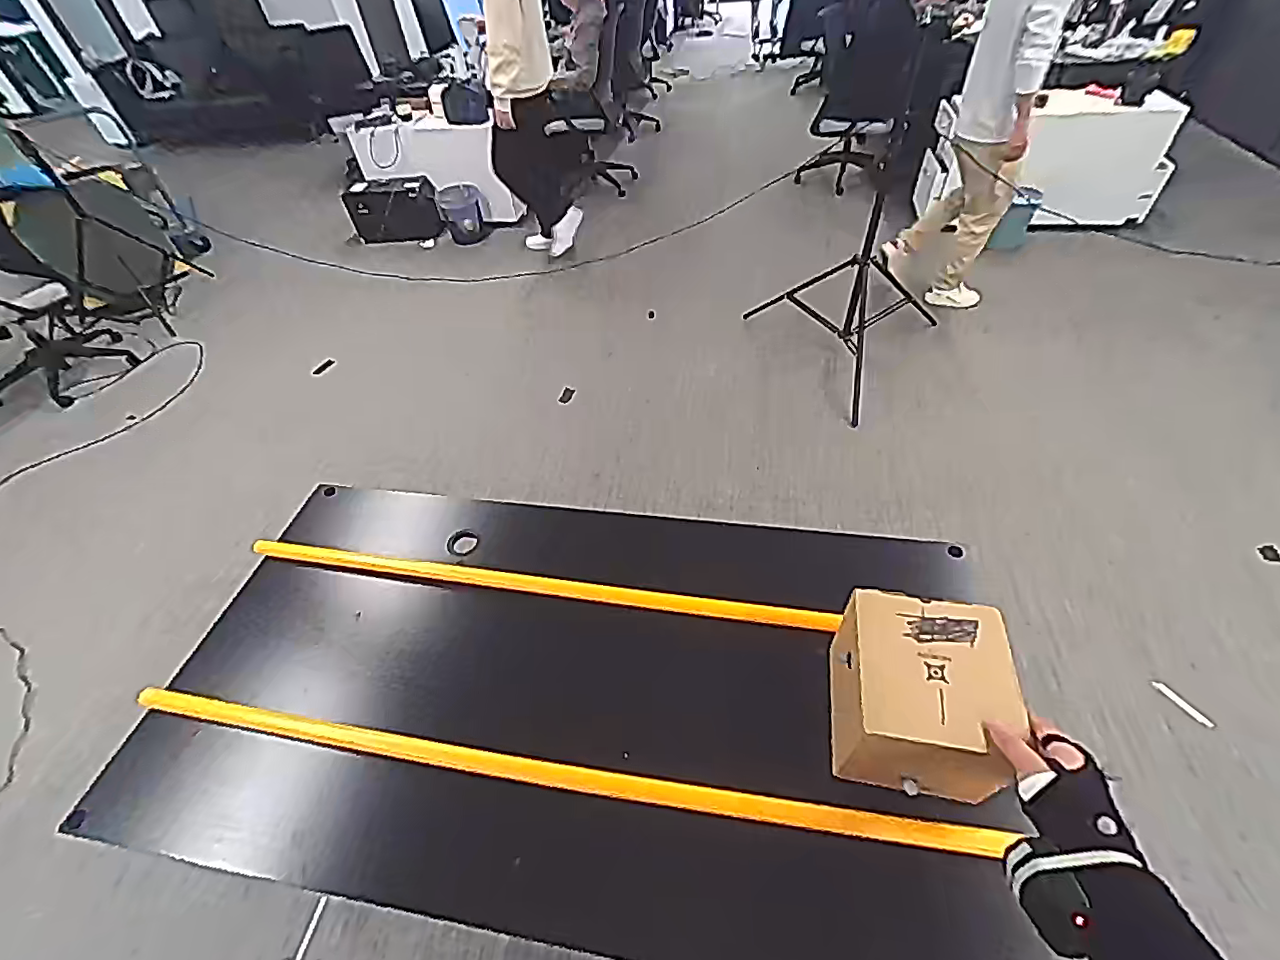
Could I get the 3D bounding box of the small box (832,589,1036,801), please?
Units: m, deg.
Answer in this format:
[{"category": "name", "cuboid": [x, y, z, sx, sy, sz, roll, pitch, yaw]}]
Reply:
[{"category": "small box", "cuboid": [0.335, 0.261, 0.661, 0.168, 0.176, 0.179, 6, 48, 12]}]
